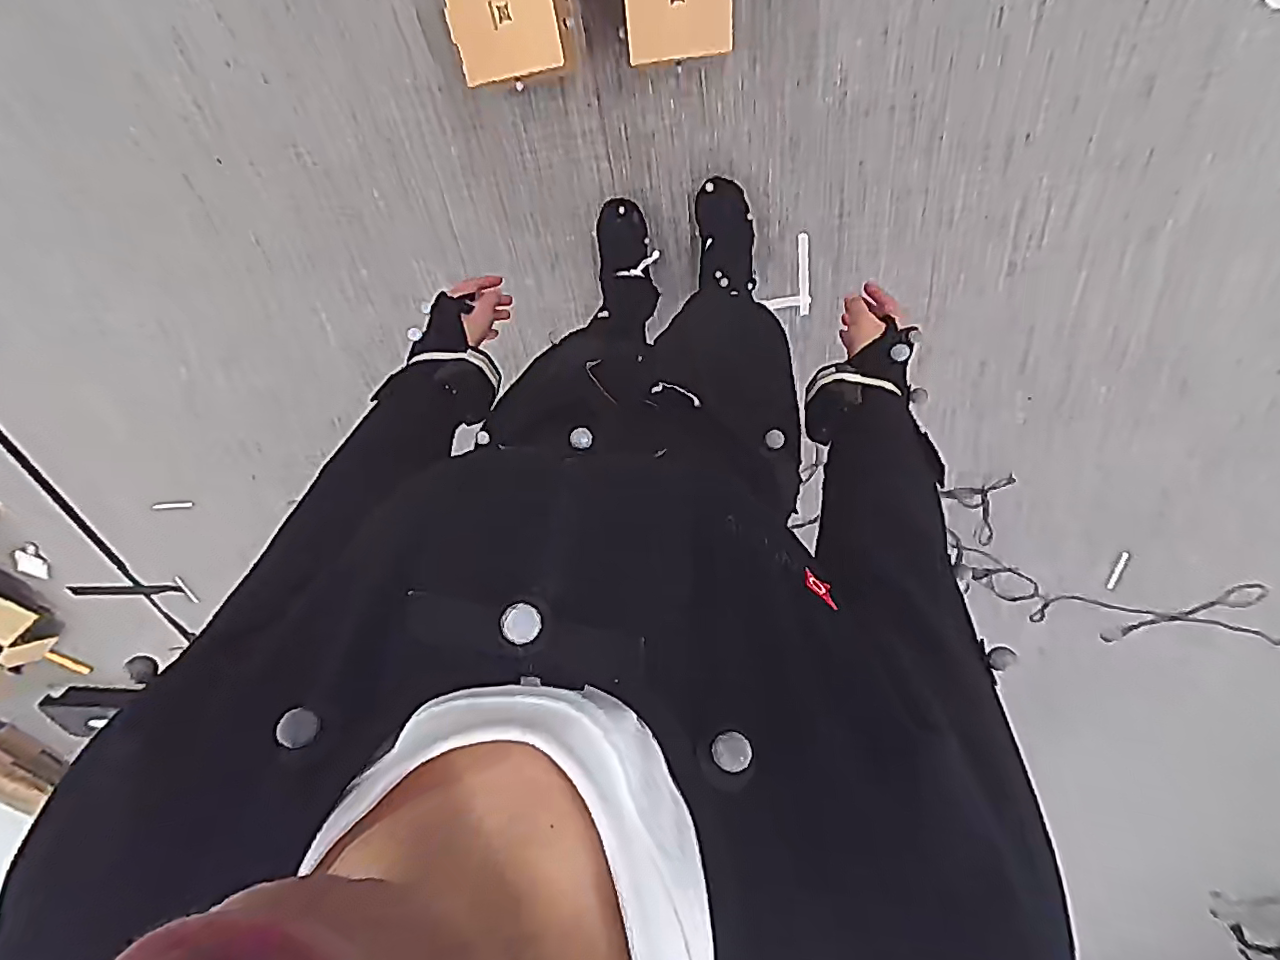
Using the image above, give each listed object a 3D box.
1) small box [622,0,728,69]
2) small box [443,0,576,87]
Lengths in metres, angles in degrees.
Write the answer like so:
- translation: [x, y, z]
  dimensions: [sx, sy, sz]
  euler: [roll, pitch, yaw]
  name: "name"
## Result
- translation: [0.060, -0.791, 0.886]
  dimensions: [0.168, 0.176, 0.179]
  euler: [-2, 125, 7]
  name: "small box"
- translation: [-0.215, -0.788, 0.923]
  dimensions: [0.179, 0.176, 0.168]
  euler: [-4, 125, 10]
  name: "small box"
